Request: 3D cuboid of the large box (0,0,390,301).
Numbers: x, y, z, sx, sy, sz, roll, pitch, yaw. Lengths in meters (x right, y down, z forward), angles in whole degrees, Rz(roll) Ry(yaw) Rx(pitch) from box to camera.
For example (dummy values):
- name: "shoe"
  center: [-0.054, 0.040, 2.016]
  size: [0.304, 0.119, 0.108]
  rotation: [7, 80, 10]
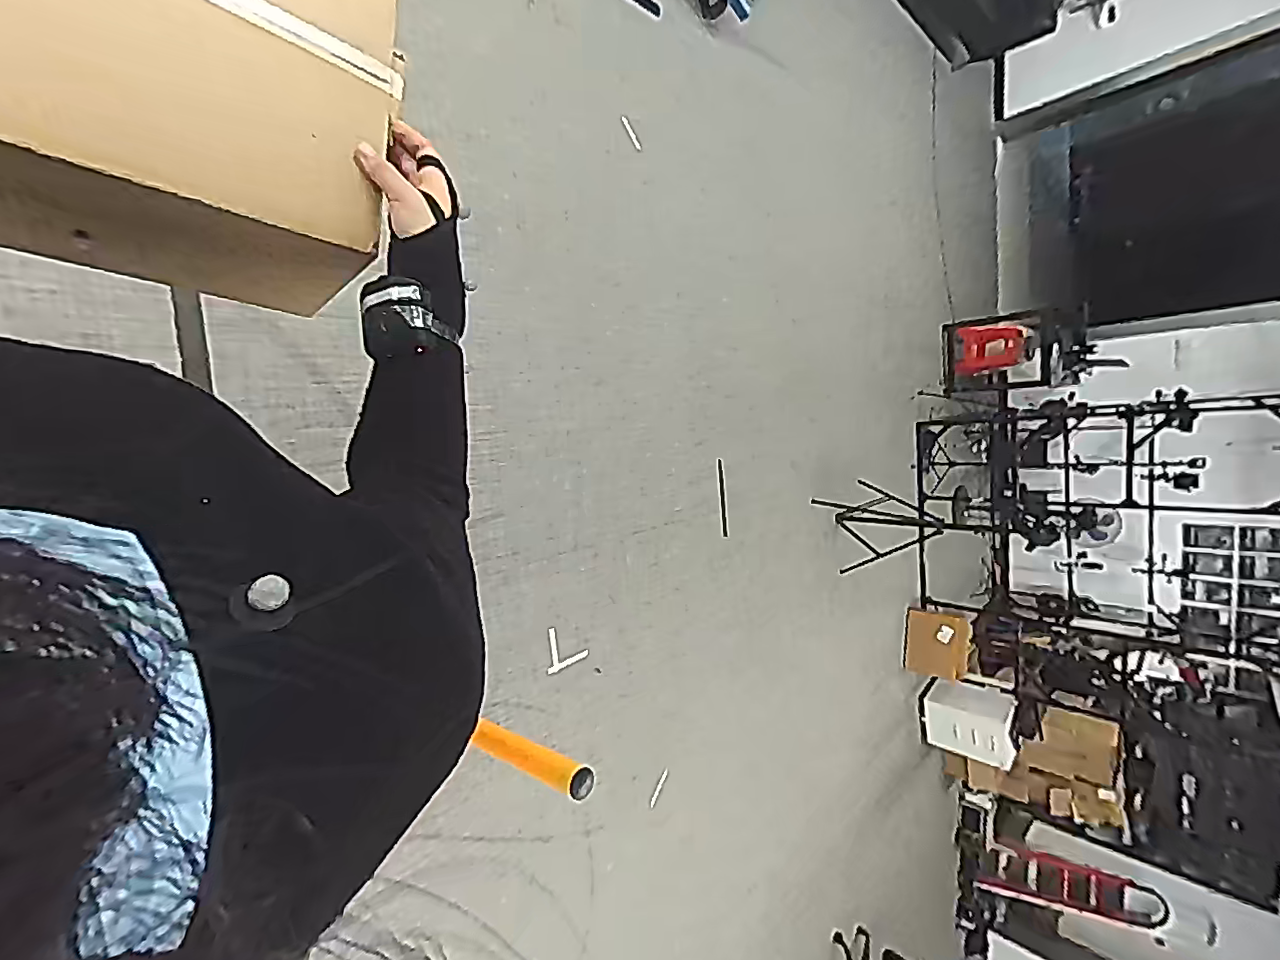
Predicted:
- name: "large box"
  center: [-0.478, -0.384, 0.478]
  size: [0.408, 0.320, 0.320]
  rotation: [5, 89, -41]
